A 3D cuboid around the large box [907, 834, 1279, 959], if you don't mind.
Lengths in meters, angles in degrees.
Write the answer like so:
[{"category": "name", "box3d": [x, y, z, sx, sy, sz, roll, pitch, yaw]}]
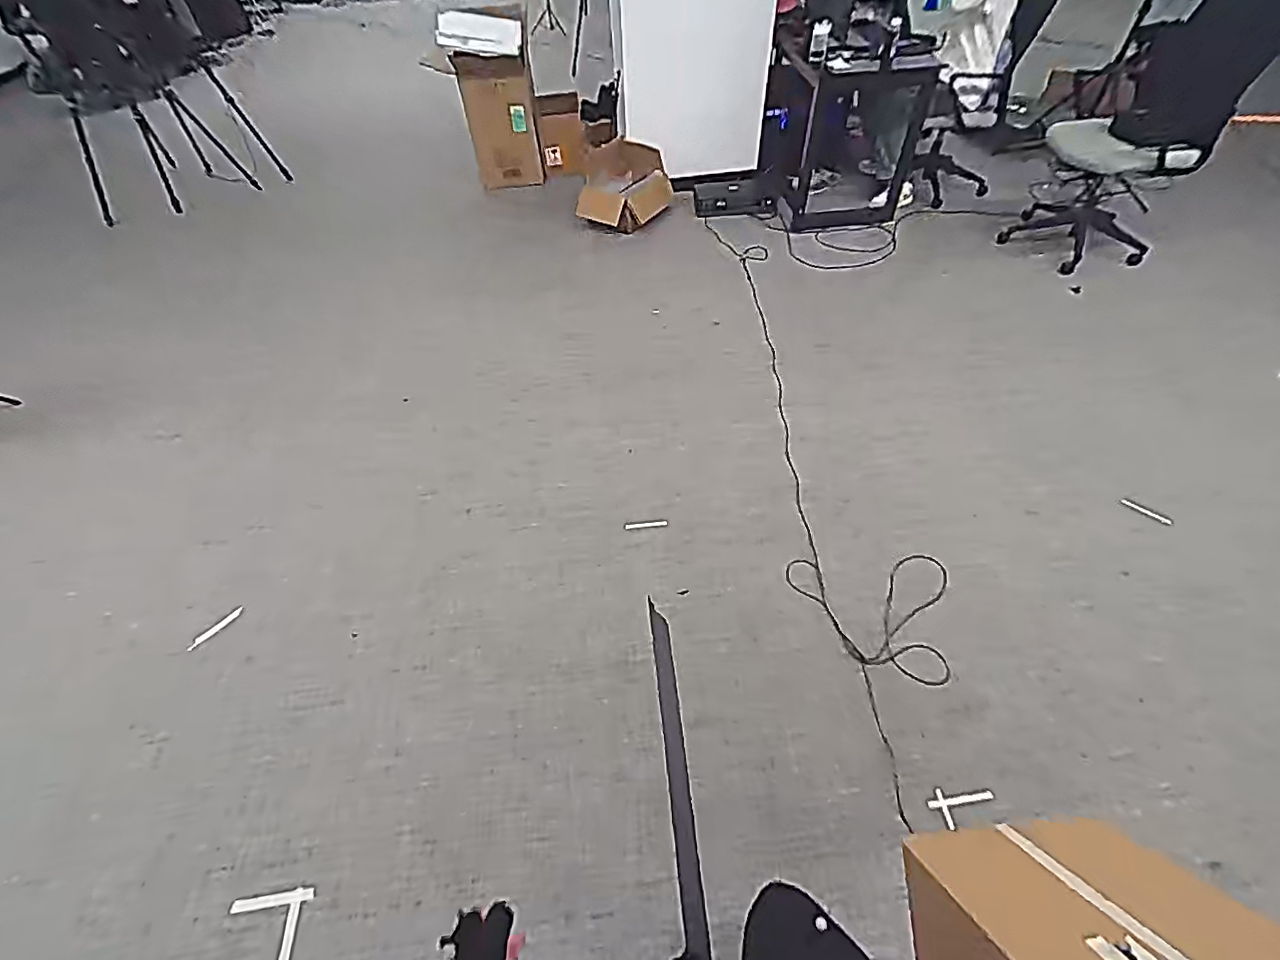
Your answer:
[{"category": "large box", "box3d": [0.568, 0.678, 0.617, 0.320, 0.408, 0.320, -4, 84, -2]}]
